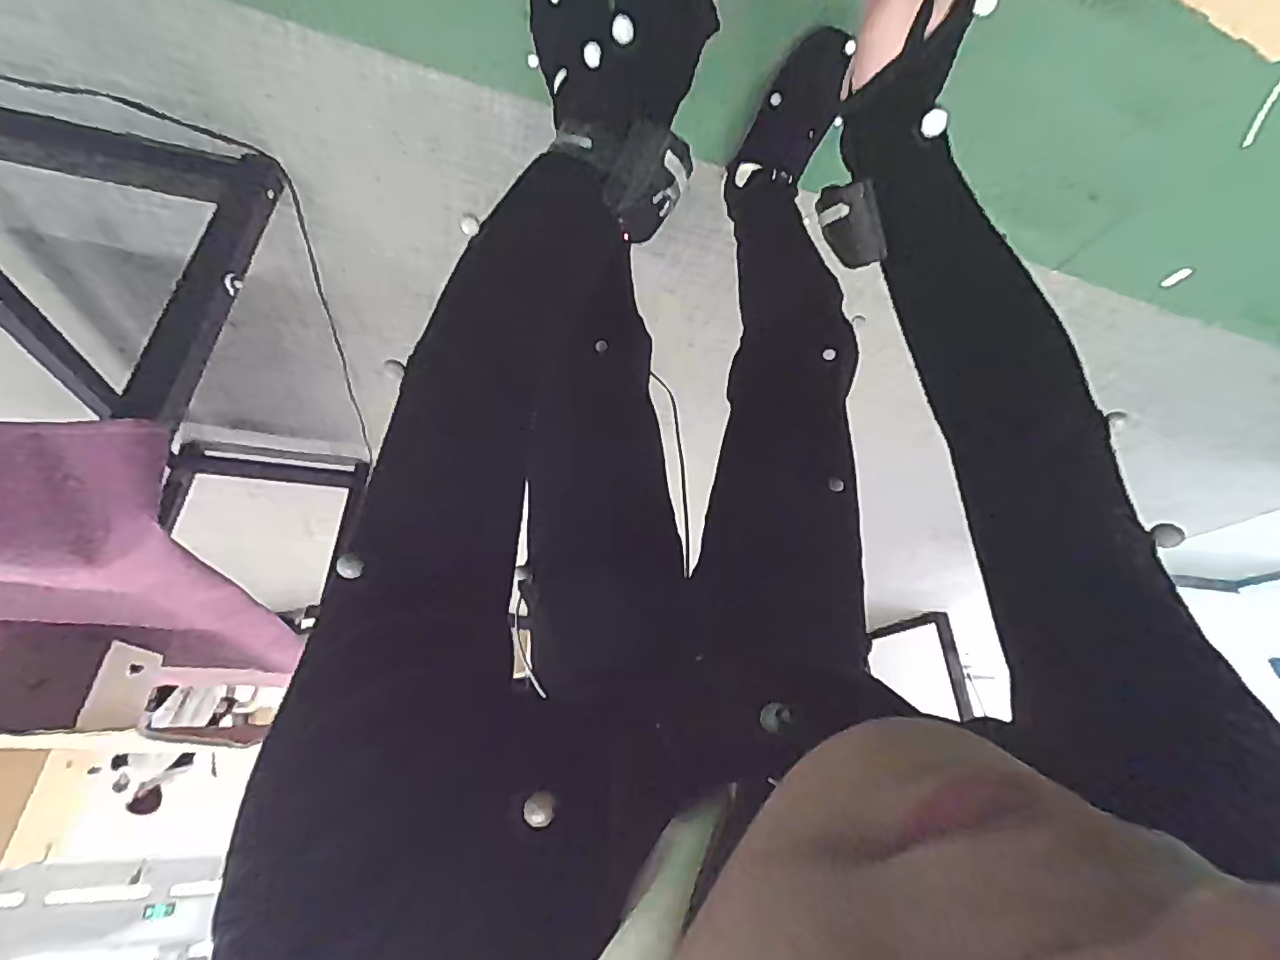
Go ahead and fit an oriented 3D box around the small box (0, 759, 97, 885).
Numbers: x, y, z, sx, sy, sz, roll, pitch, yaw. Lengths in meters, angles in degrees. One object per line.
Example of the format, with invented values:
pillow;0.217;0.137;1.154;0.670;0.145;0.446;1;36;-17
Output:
small box;-1.047;0.550;0.876;0.179;0.176;0.168;6;149;-13
